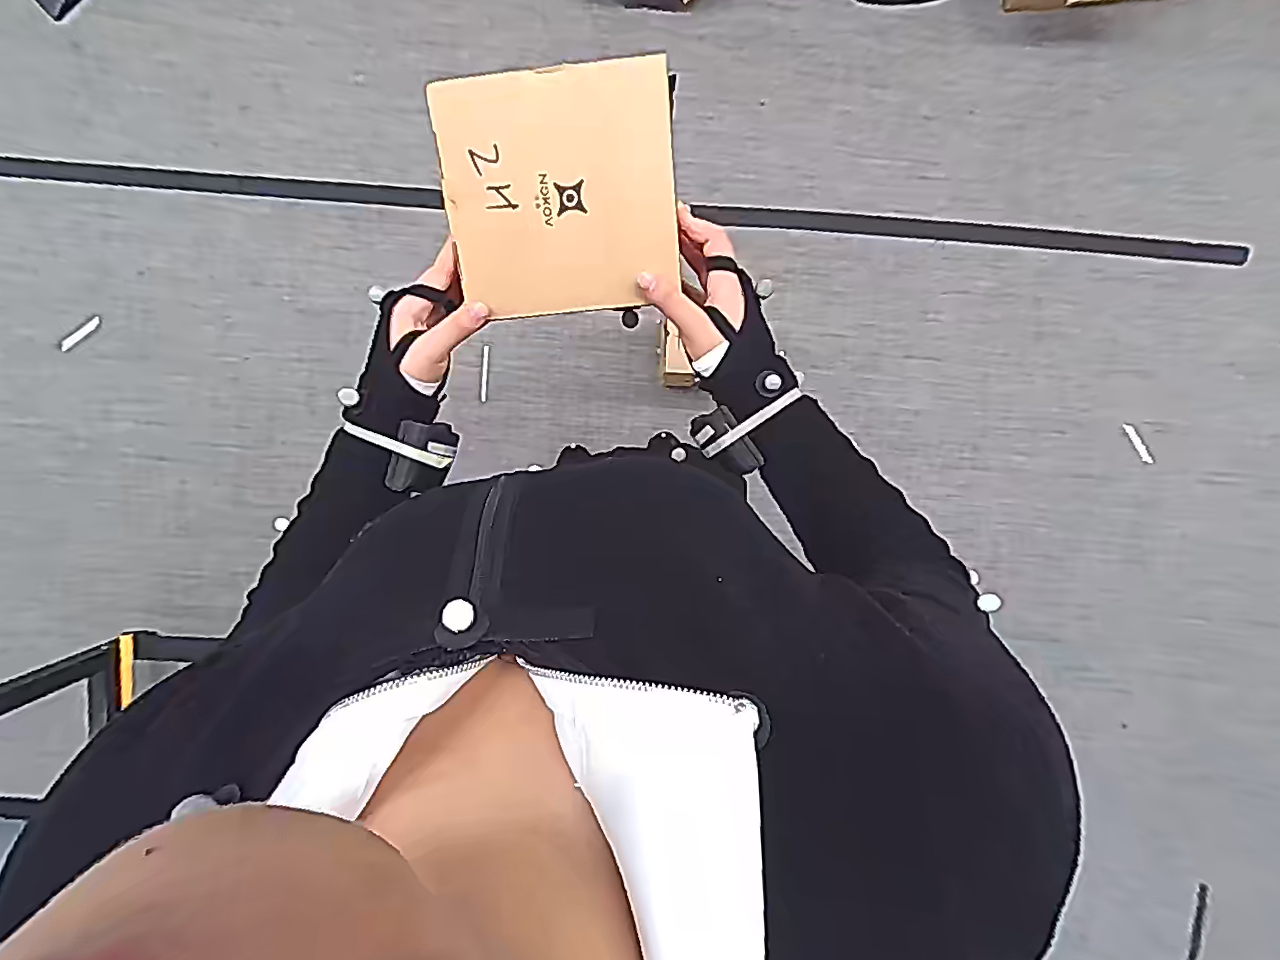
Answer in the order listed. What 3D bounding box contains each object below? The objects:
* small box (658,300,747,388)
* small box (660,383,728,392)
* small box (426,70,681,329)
[{"bbox_3d":[0.134,-0.299,1.217,0.179,0.176,0.168,2,95,-2],"label":"small box"},{"bbox_3d":[0.138,-0.317,1.383,0.168,0.176,0.179,2,96,-1],"label":"small box"},{"bbox_3d":[-0.059,-0.227,0.476,0.179,0.176,0.168,-3,108,3],"label":"small box"}]
